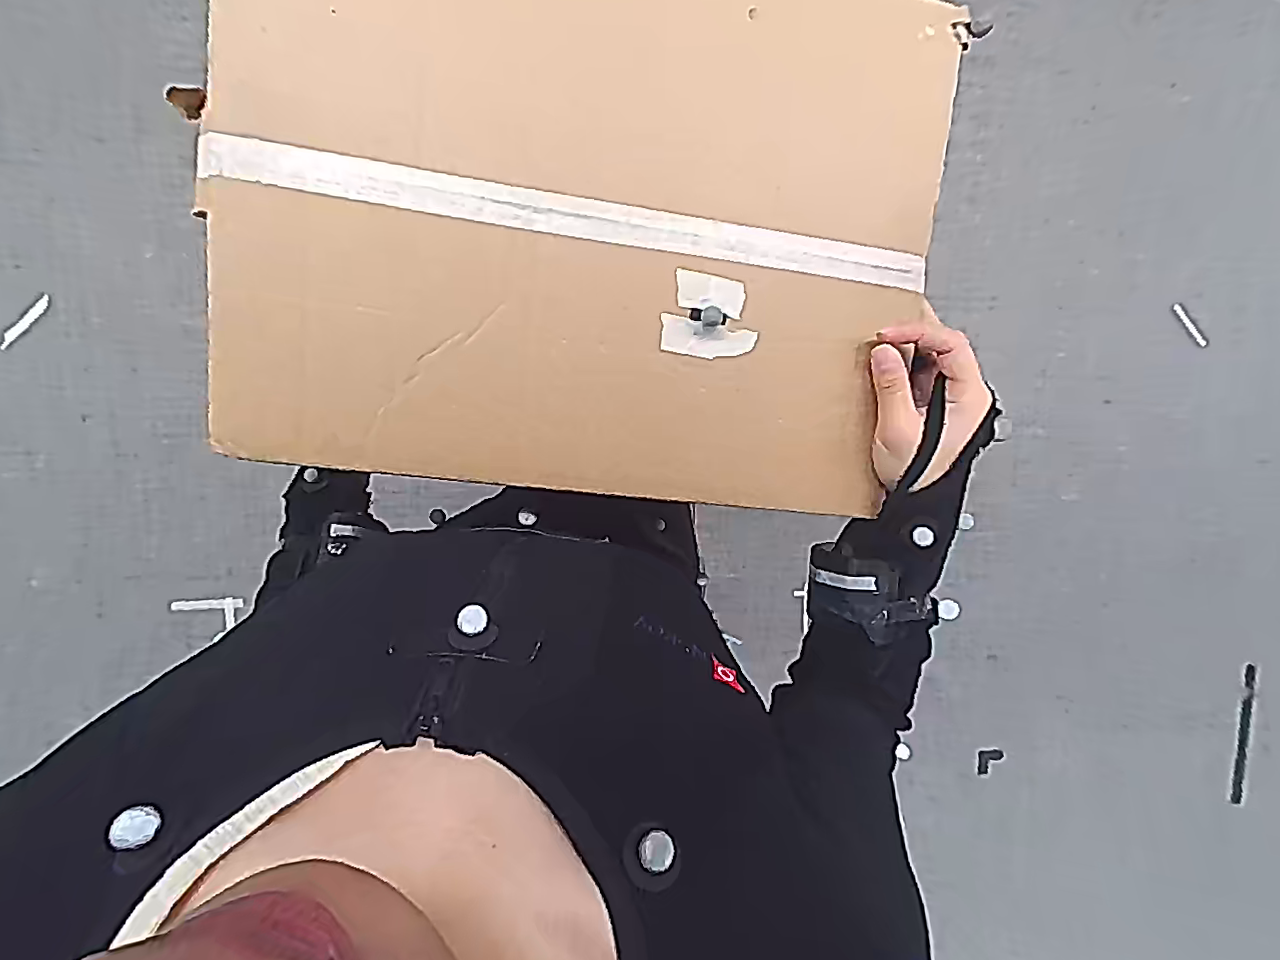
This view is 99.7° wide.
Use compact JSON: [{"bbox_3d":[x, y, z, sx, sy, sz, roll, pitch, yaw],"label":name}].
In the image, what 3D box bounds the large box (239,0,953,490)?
[{"bbox_3d":[-0.040,-0.178,0.463,0.408,0.320,0.320,5,98,-11],"label":"large box"}]
